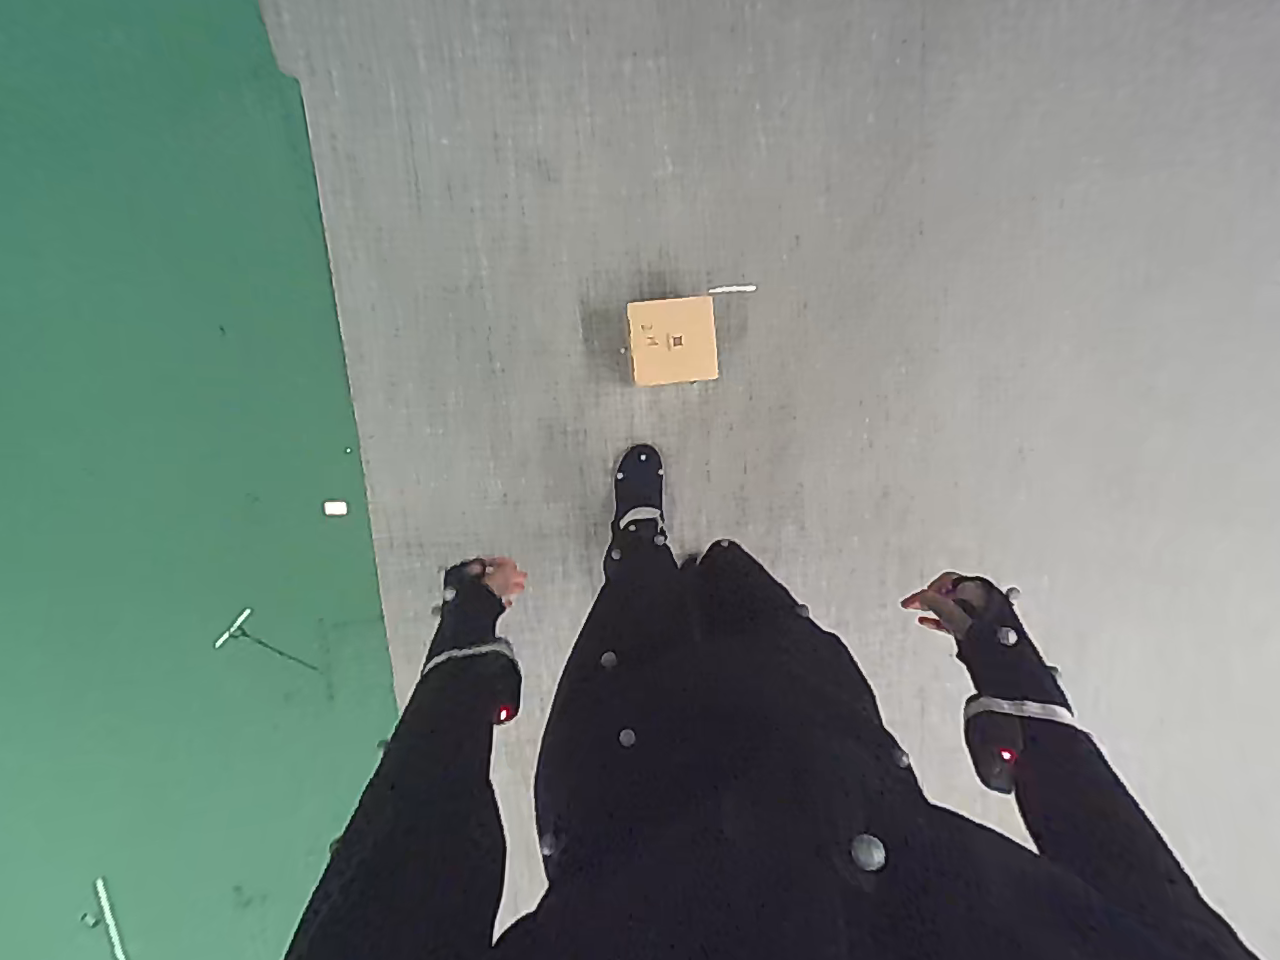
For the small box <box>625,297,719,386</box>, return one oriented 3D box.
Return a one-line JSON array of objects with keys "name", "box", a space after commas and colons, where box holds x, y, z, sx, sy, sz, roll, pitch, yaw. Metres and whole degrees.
[{"name": "small box", "box": [0.063, -0.292, 1.168, 0.179, 0.176, 0.168, -6, 99, -3]}]
